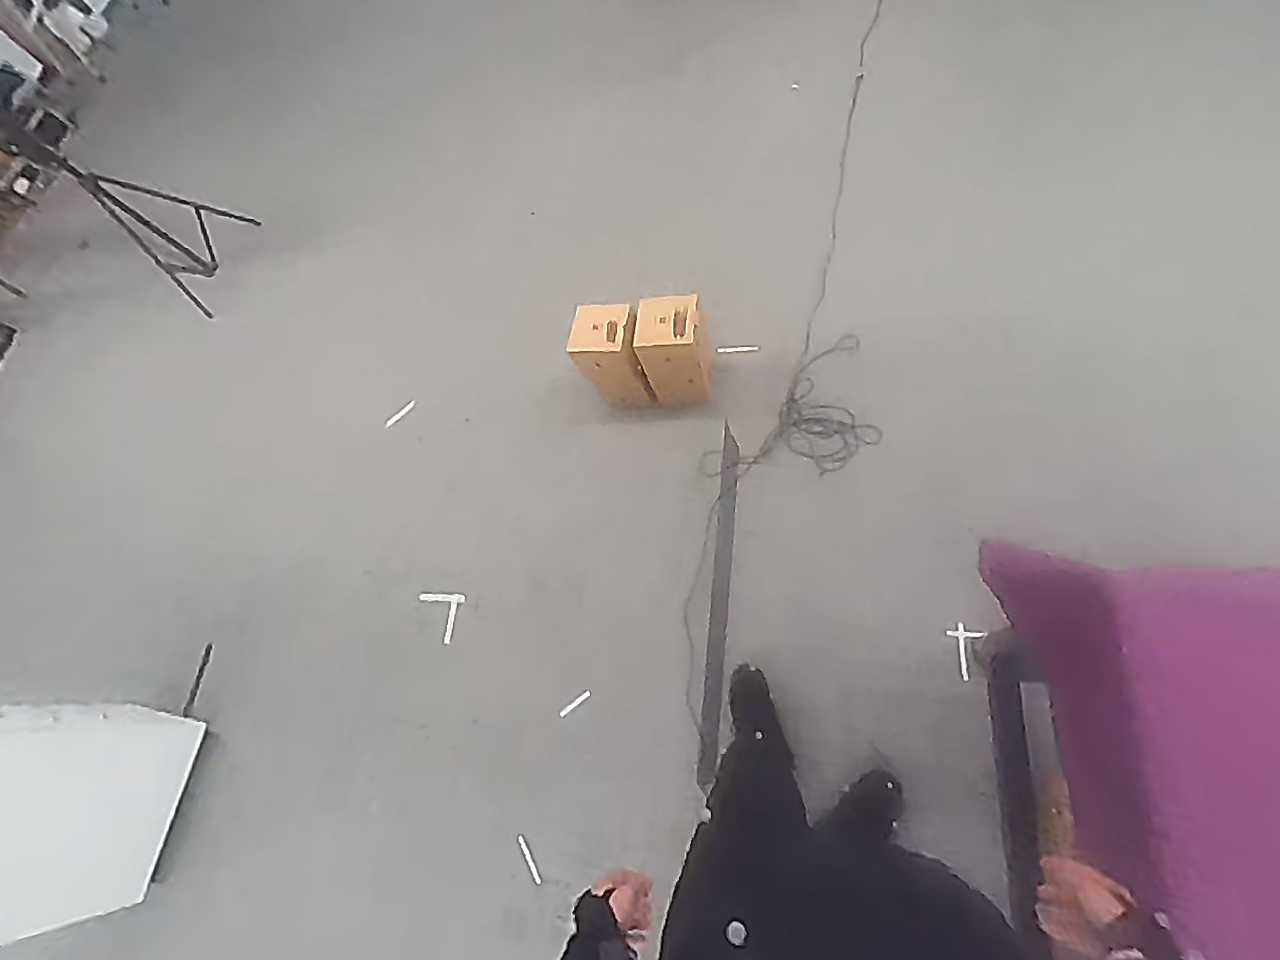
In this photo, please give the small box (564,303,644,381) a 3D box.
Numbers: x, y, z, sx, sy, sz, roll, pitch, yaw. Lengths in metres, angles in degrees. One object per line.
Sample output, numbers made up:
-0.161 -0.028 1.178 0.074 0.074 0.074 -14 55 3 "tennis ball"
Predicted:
-0.101 -0.413 1.639 0.179 0.176 0.168 4 70 22 "small box"
